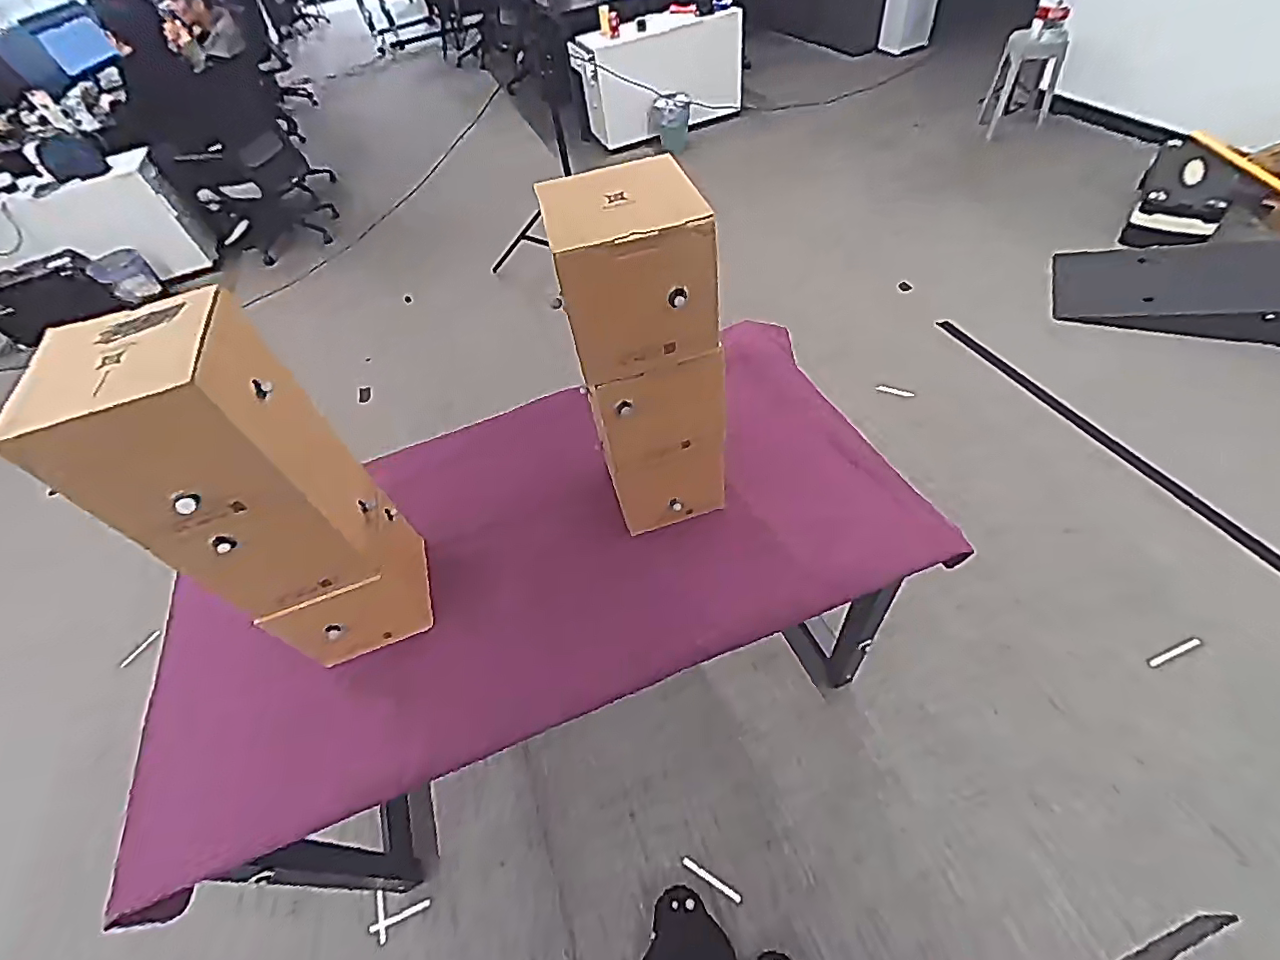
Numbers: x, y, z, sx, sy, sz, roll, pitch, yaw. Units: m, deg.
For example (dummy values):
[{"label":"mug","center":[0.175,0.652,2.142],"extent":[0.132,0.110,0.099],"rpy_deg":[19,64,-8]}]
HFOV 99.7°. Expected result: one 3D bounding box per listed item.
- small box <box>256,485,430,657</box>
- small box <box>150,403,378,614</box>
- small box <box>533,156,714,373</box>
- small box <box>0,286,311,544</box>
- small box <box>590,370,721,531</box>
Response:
[{"label":"small box","center":[-0.433,0.144,0.813],"extent":[0.168,0.176,0.179],"rpy_deg":[-20,51,-7]},{"label":"small box","center":[-0.456,0.038,0.690],"extent":[0.168,0.176,0.179],"rpy_deg":[-21,50,-8]},{"label":"small box","center":[-0.016,-0.244,0.634],"extent":[0.168,0.176,0.179],"rpy_deg":[-15,49,-4]},{"label":"small box","center":[-0.472,-0.066,0.562],"extent":[0.168,0.176,0.179],"rpy_deg":[-20,51,-7]},{"label":"small box","center":[0.027,-0.046,0.890],"extent":[0.168,0.176,0.179],"rpy_deg":[-17,51,-4]}]
